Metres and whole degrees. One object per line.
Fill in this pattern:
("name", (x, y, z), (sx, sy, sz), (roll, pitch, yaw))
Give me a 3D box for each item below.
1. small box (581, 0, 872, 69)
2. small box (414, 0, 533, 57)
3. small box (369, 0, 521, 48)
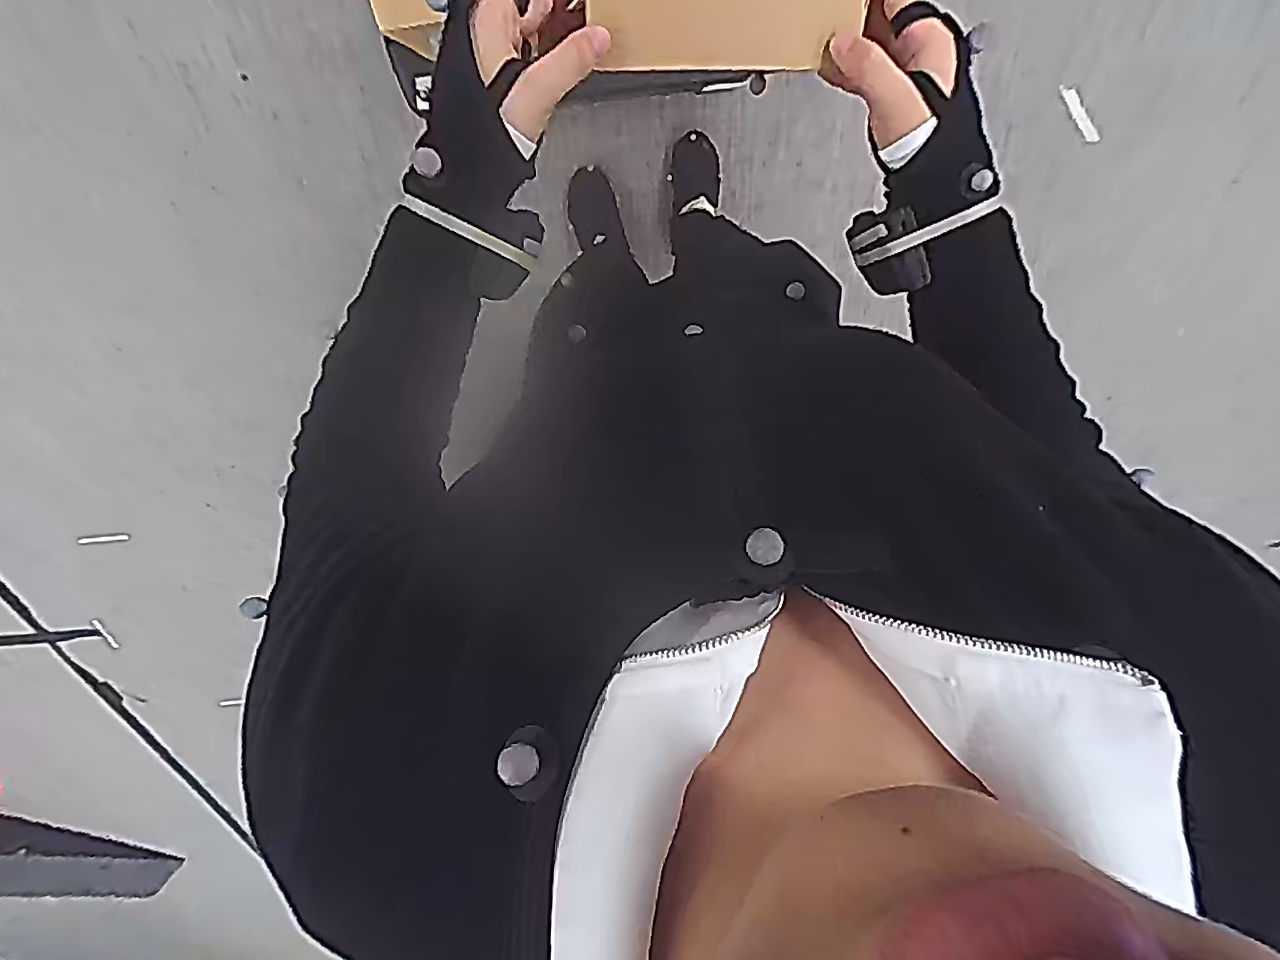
("small box", (0.047, -0.376, 0.354), (0.179, 0.176, 0.168), (-4, 128, -3))
("small box", (-0.266, -0.763, 0.828), (0.168, 0.176, 0.179), (-7, 122, 0))
("small box", (-0.258, -0.681, 0.687), (0.168, 0.176, 0.179), (-8, 123, 1))
